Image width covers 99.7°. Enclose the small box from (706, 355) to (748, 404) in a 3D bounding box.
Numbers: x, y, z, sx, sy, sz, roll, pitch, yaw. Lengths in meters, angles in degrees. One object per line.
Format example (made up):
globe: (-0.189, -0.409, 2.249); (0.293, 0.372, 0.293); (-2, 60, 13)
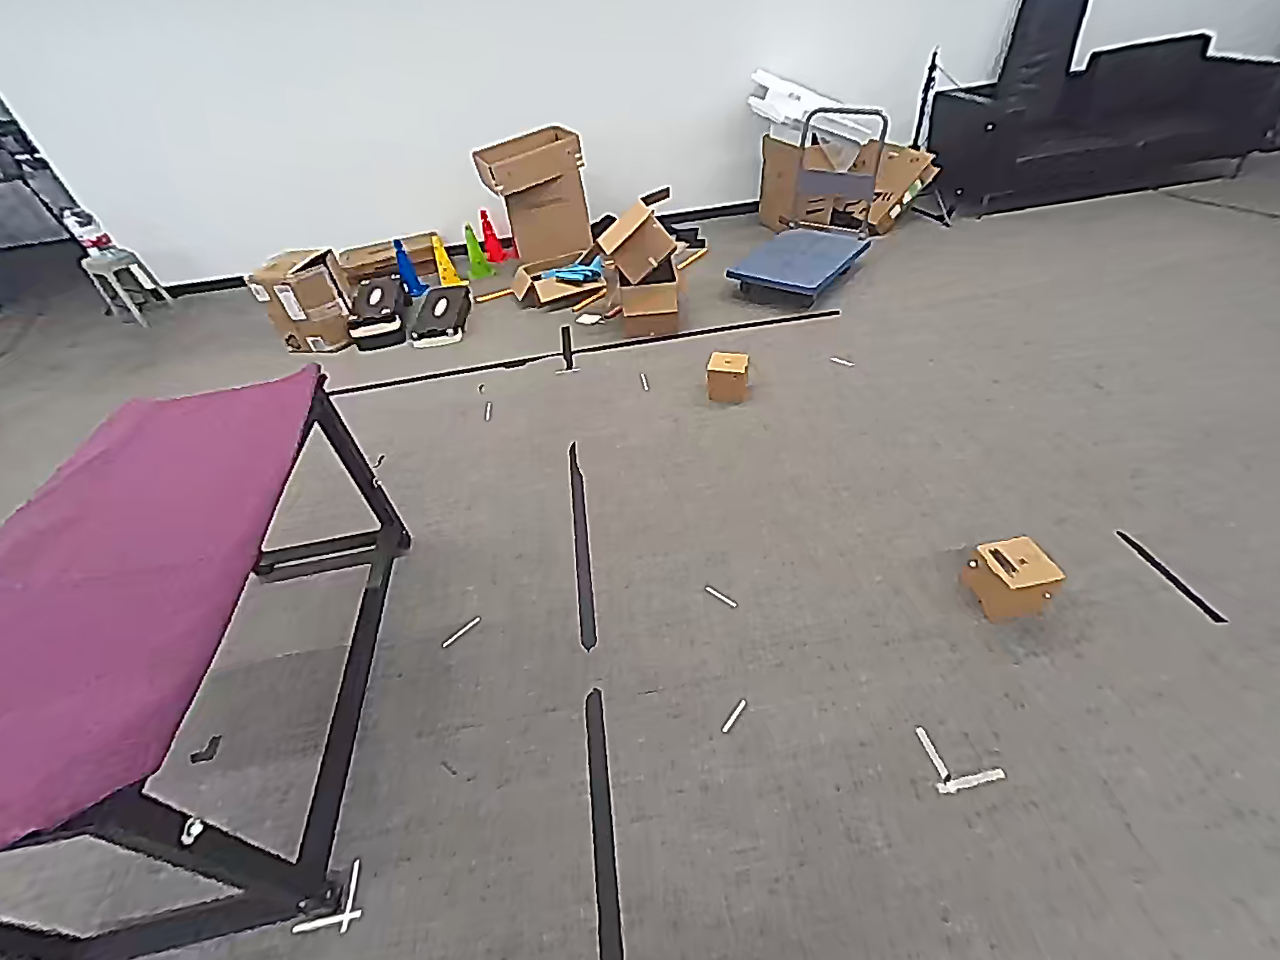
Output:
small box: (0.418, -0.484, 2.609); (0.179, 0.176, 0.168); (8, 44, 15)
